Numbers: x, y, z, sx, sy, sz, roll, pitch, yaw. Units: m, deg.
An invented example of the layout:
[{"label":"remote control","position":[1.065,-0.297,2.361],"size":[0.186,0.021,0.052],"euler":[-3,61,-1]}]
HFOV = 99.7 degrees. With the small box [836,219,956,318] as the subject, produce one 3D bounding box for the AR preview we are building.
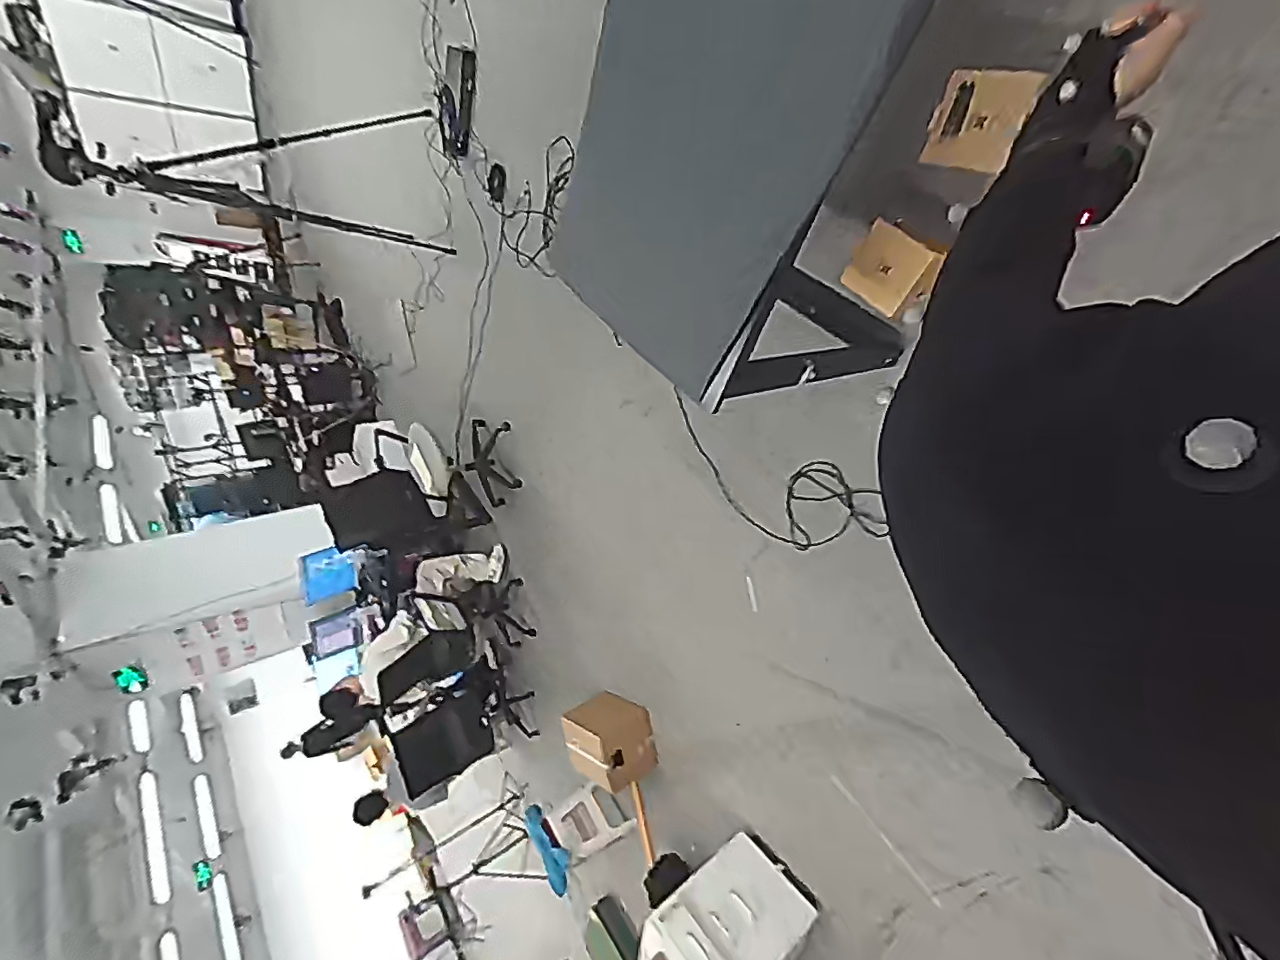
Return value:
[{"label":"small box","position":[0.635,-0.524,1.339],"size":[0.179,0.176,0.168],"euler":[52,138,27]}]
